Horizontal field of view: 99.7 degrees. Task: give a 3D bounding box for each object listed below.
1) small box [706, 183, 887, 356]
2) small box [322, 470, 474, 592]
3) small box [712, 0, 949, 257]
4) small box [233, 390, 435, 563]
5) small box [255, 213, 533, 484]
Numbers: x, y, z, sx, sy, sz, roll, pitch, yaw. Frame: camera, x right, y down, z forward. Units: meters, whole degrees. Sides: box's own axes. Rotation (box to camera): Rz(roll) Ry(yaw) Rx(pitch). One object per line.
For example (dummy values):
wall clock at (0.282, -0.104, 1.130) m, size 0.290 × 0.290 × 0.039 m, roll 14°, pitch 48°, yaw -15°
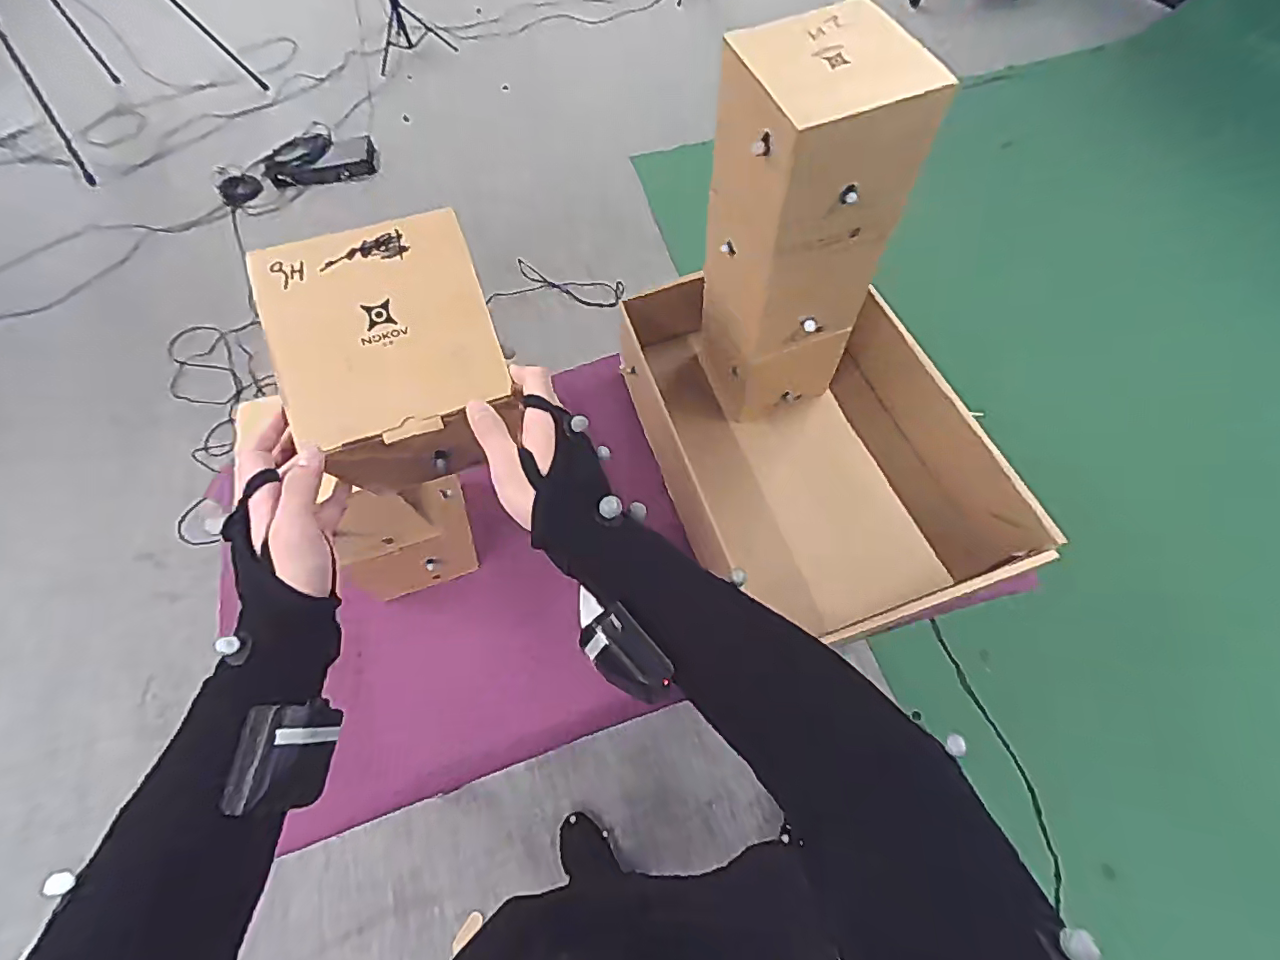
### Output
small box at (0.198, -0.306, 0.749) m, size 0.168 × 0.176 × 0.179 m, roll -20°, pitch 66°, yaw -5°
small box at (-0.375, 0.062, 0.846) m, size 0.168 × 0.176 × 0.179 m, roll -18°, pitch 63°, yaw -6°
small box at (0.189, -0.374, 0.598) m, size 0.168 × 0.176 × 0.179 m, roll -19°, pitch 65°, yaw -5°
small box at (-0.383, -0.007, 0.700) m, size 0.168 × 0.176 × 0.179 m, roll -19°, pitch 63°, yaw -6°
small box at (-0.205, -0.103, 0.501) m, size 0.168 × 0.176 × 0.179 m, roll -19°, pitch 84°, yaw -10°
